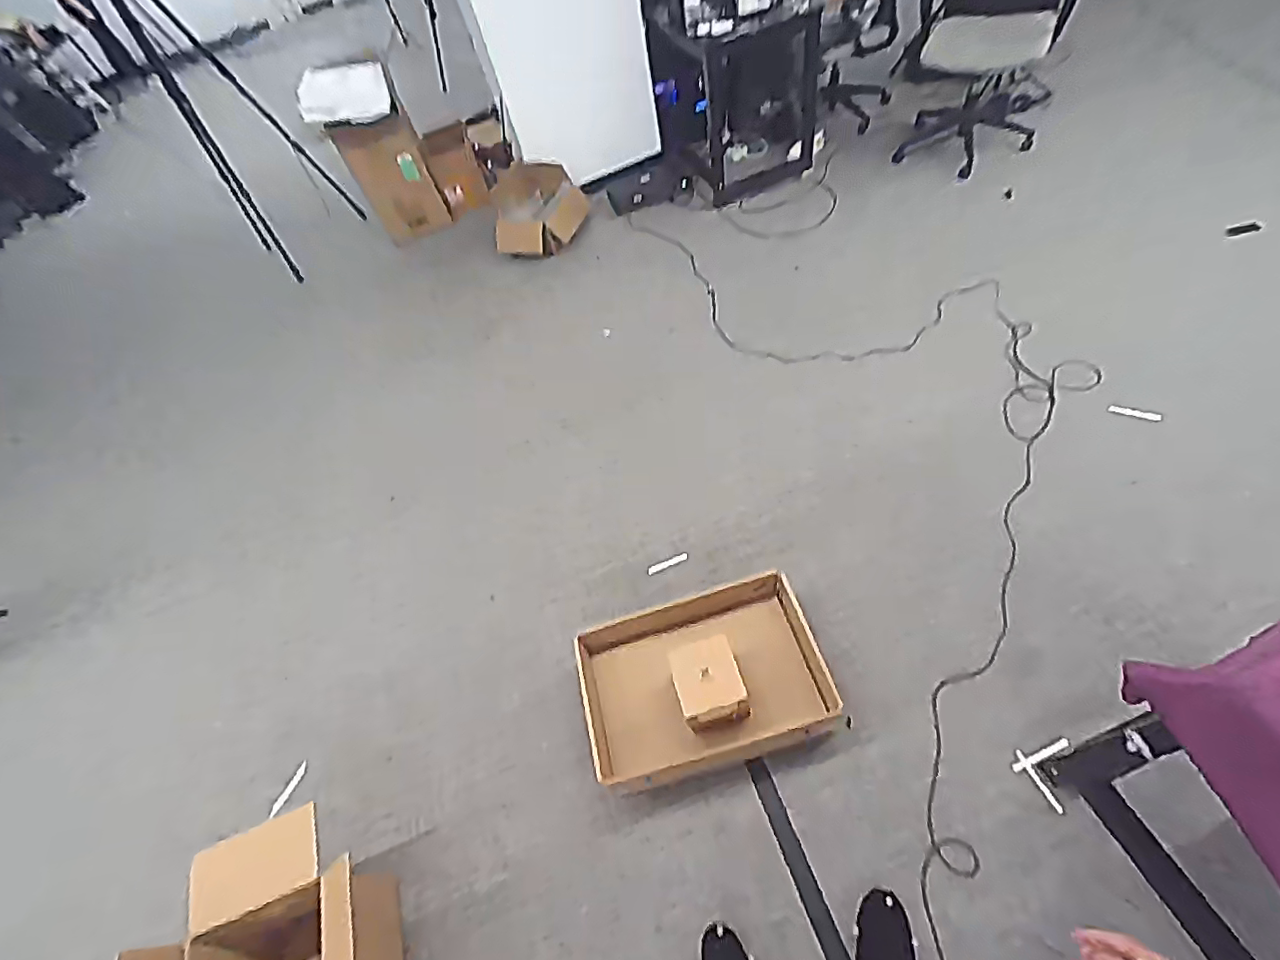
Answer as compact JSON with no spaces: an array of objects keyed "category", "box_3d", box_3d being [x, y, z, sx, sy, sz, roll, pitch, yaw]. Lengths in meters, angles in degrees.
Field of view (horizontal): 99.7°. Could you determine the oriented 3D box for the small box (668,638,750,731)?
[{"category":"small box","box_3d":[0.184,0.544,1.421,0.168,0.176,0.179,-18,53,0]}]
